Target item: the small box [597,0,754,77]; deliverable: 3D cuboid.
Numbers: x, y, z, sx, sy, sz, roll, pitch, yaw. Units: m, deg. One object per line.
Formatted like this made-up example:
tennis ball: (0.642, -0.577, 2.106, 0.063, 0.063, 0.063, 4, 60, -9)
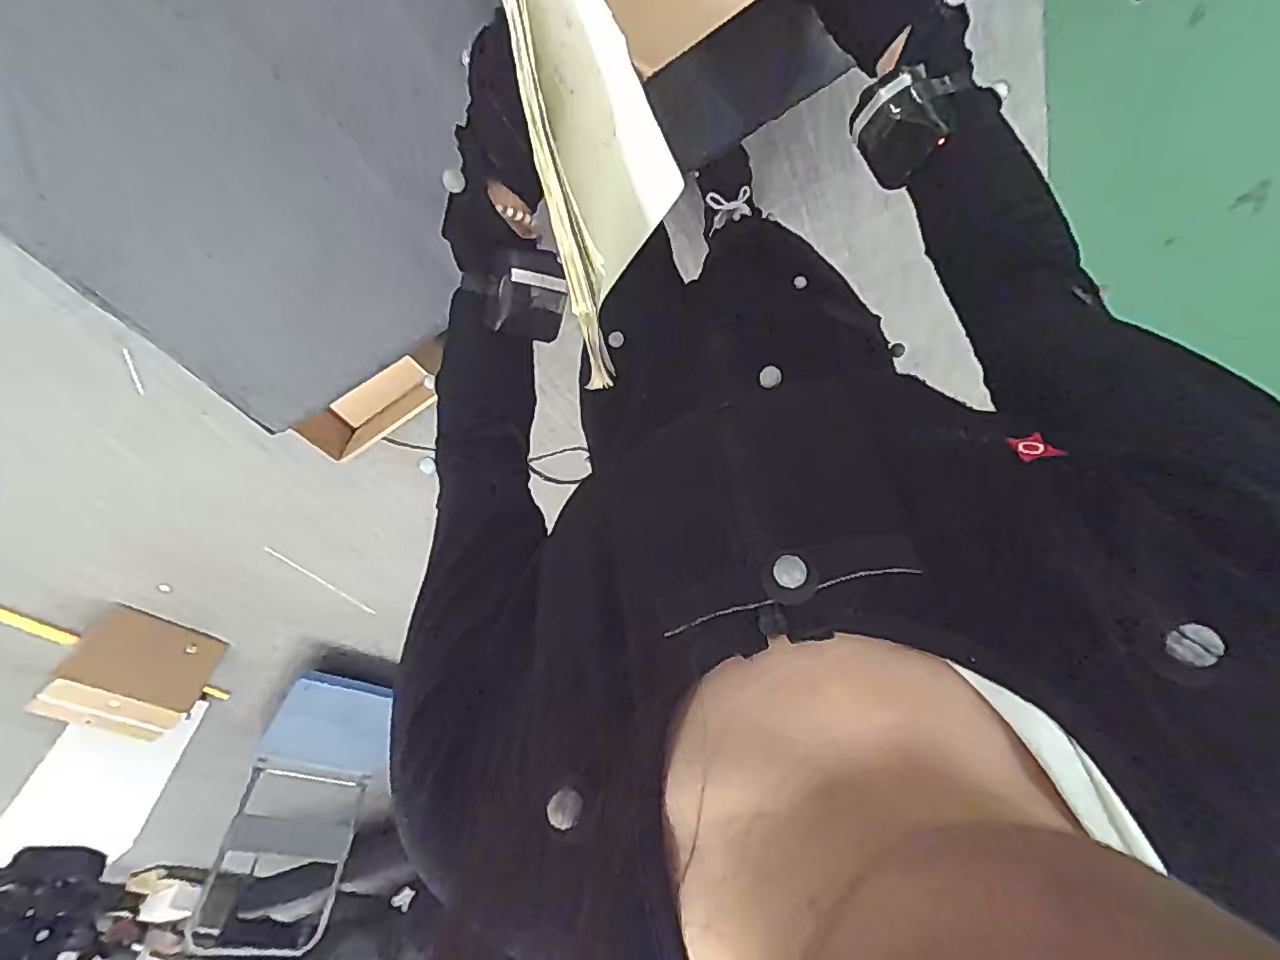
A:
small box: (0.031, -0.410, 0.357, 0.179, 0.176, 0.168, -25, 126, 17)
